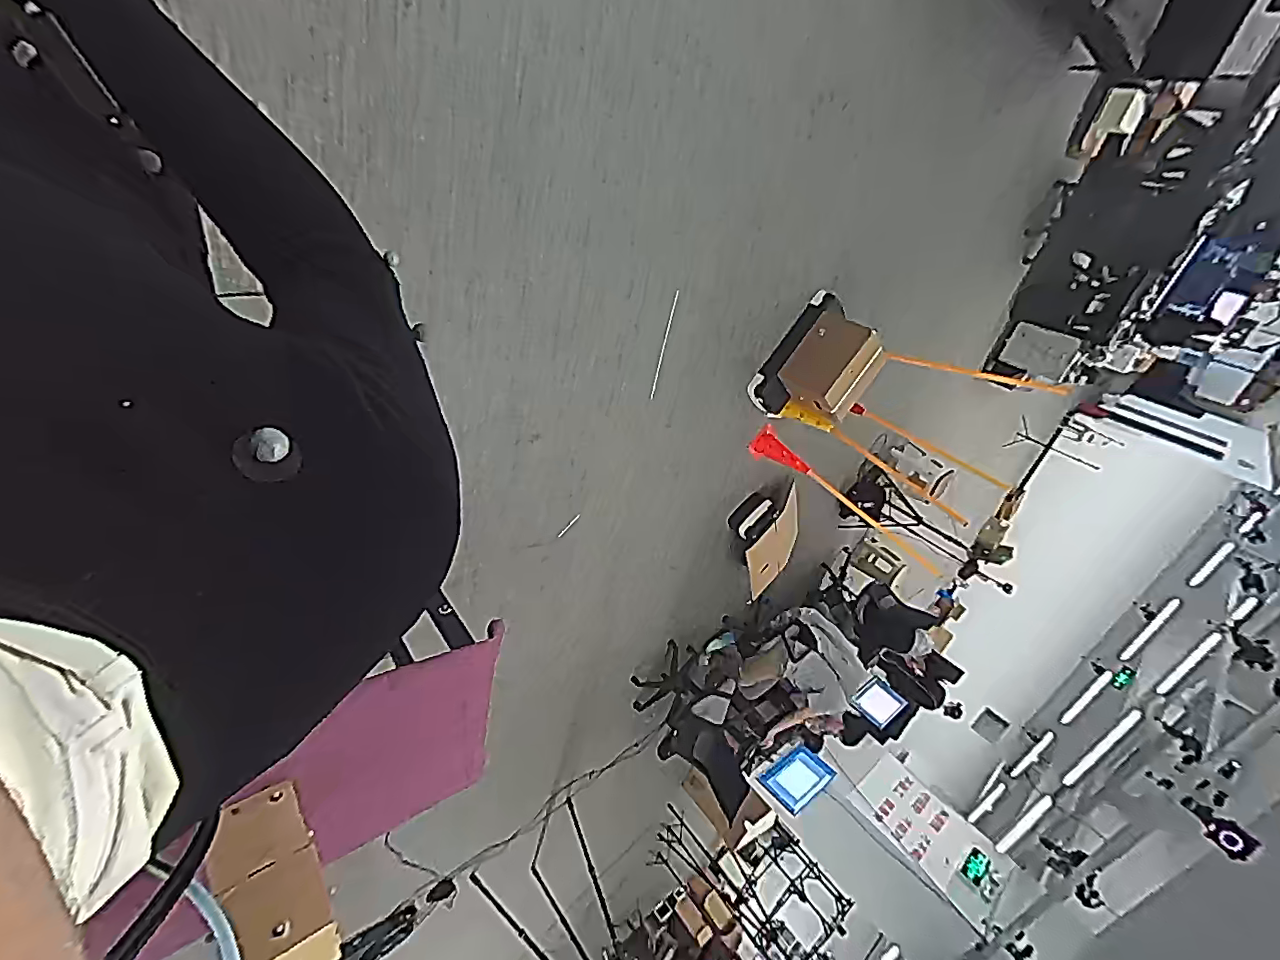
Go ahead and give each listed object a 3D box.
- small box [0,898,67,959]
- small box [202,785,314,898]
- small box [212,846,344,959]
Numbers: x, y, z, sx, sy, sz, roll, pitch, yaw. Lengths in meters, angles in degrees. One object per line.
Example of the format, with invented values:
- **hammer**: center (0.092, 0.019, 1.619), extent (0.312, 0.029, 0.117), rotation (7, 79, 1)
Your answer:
- **small box**: center (-1.094, 0.859, 0.896), extent (0.179, 0.176, 0.168), rotation (-13, 130, -41)
- **small box**: center (-0.805, 0.791, 1.151), extent (0.168, 0.176, 0.179), rotation (-14, 131, -40)
- **small box**: center (-0.701, 0.870, 1.054), extent (0.179, 0.176, 0.168), rotation (-14, 129, -40)
